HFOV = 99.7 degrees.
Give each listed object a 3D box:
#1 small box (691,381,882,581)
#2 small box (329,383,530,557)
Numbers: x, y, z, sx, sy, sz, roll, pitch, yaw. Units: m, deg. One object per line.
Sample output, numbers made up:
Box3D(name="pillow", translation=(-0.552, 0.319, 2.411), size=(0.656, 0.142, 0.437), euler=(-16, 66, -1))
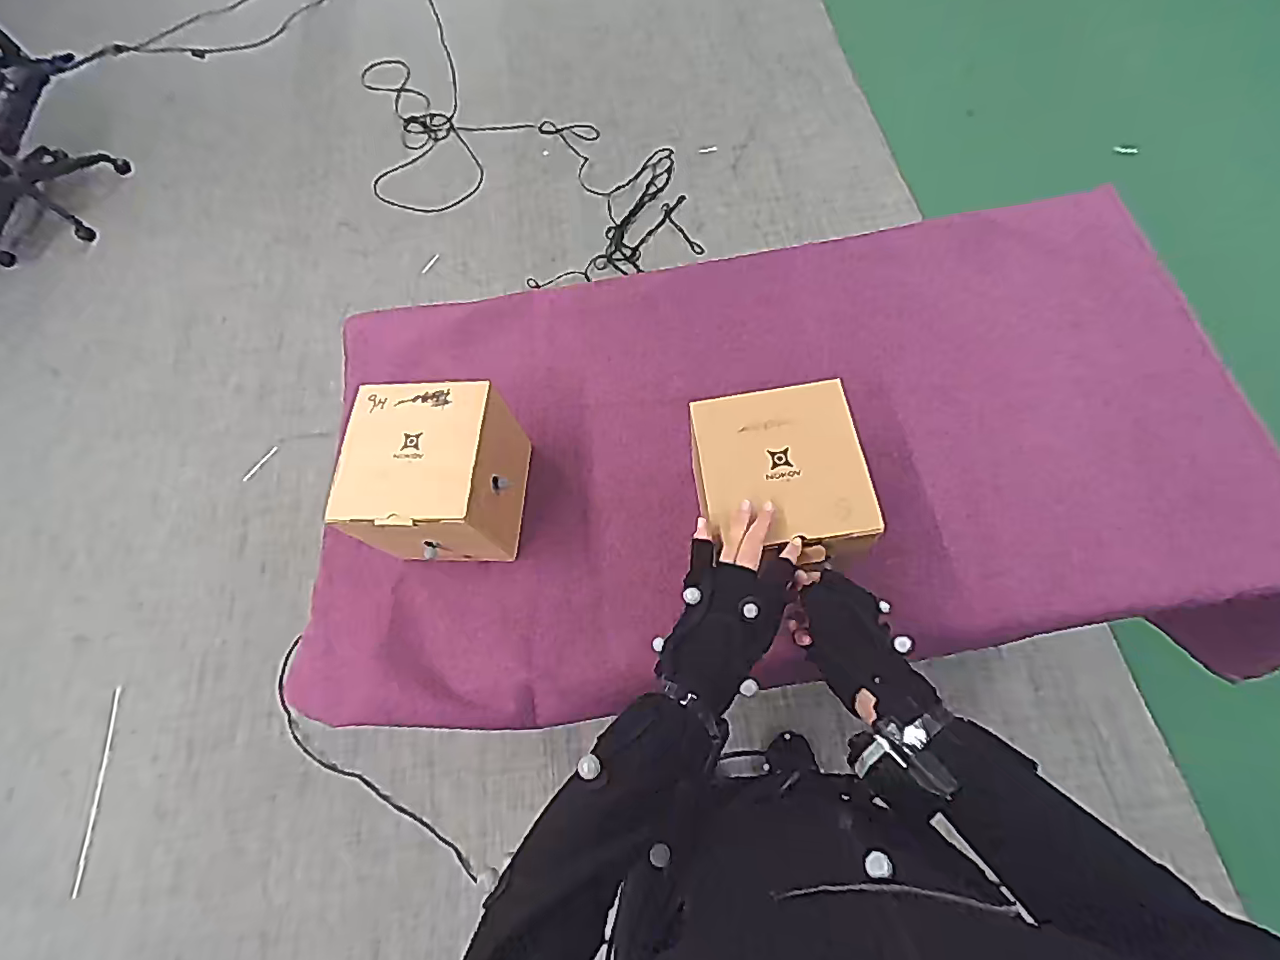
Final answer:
Box3D(name="small box", translation=(0.154, 0.013, 0.626), size=(0.168, 0.176, 0.179), euler=(-8, 66, 3))
Box3D(name="small box", translation=(-0.248, -0.004, 0.685), size=(0.168, 0.176, 0.179), euler=(0, 68, 7))
